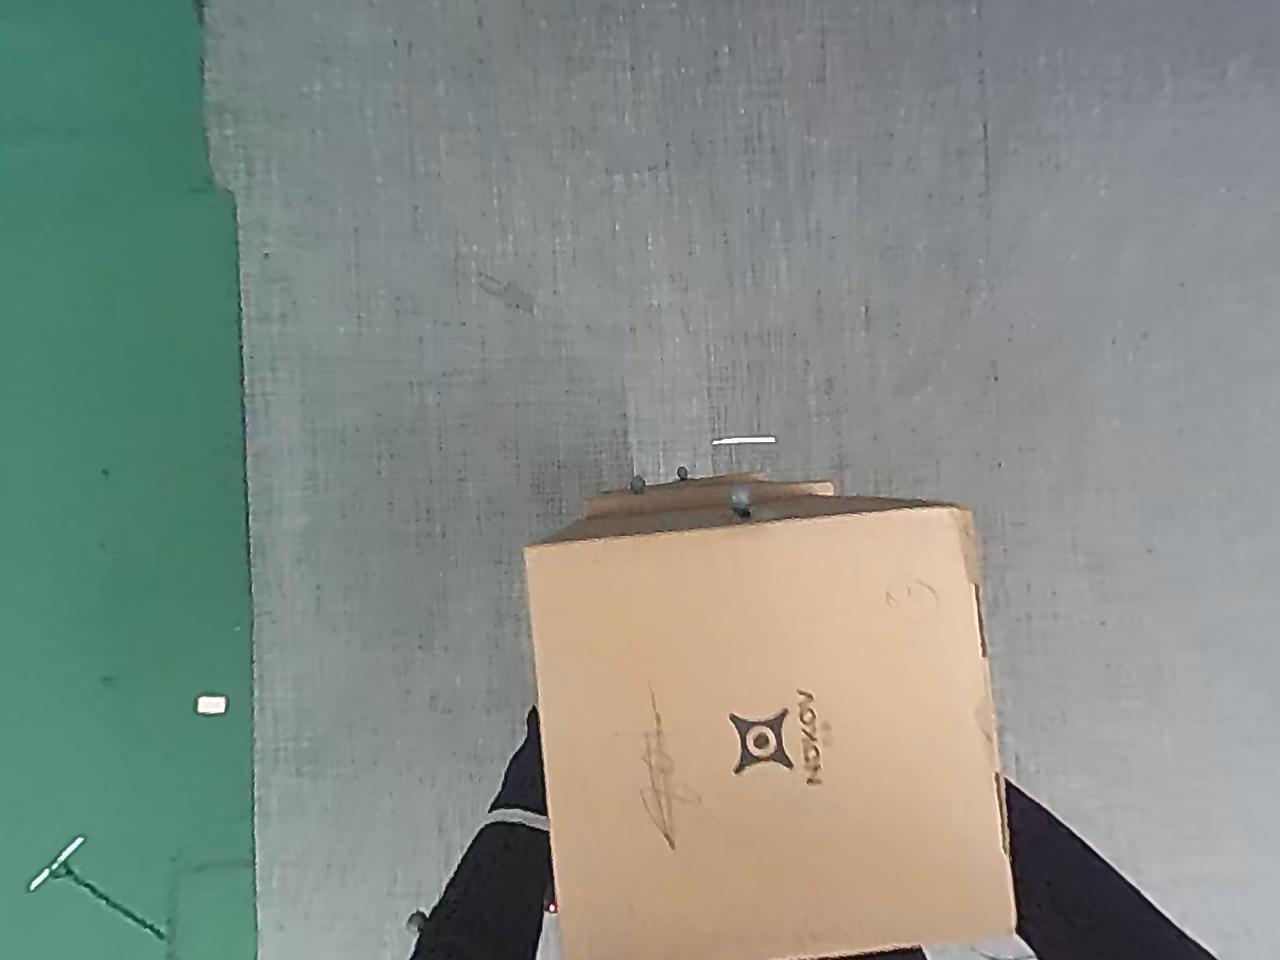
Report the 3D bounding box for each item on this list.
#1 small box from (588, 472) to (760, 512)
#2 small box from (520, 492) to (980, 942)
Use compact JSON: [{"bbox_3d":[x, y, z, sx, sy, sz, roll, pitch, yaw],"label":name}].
[{"bbox_3d":[0.040,0.079,0.622,0.179,0.176,0.168,-7,90,-1],"label":"small box"},{"bbox_3d":[0.043,0.095,0.294,0.179,0.176,0.168,-5,90,0],"label":"small box"}]
